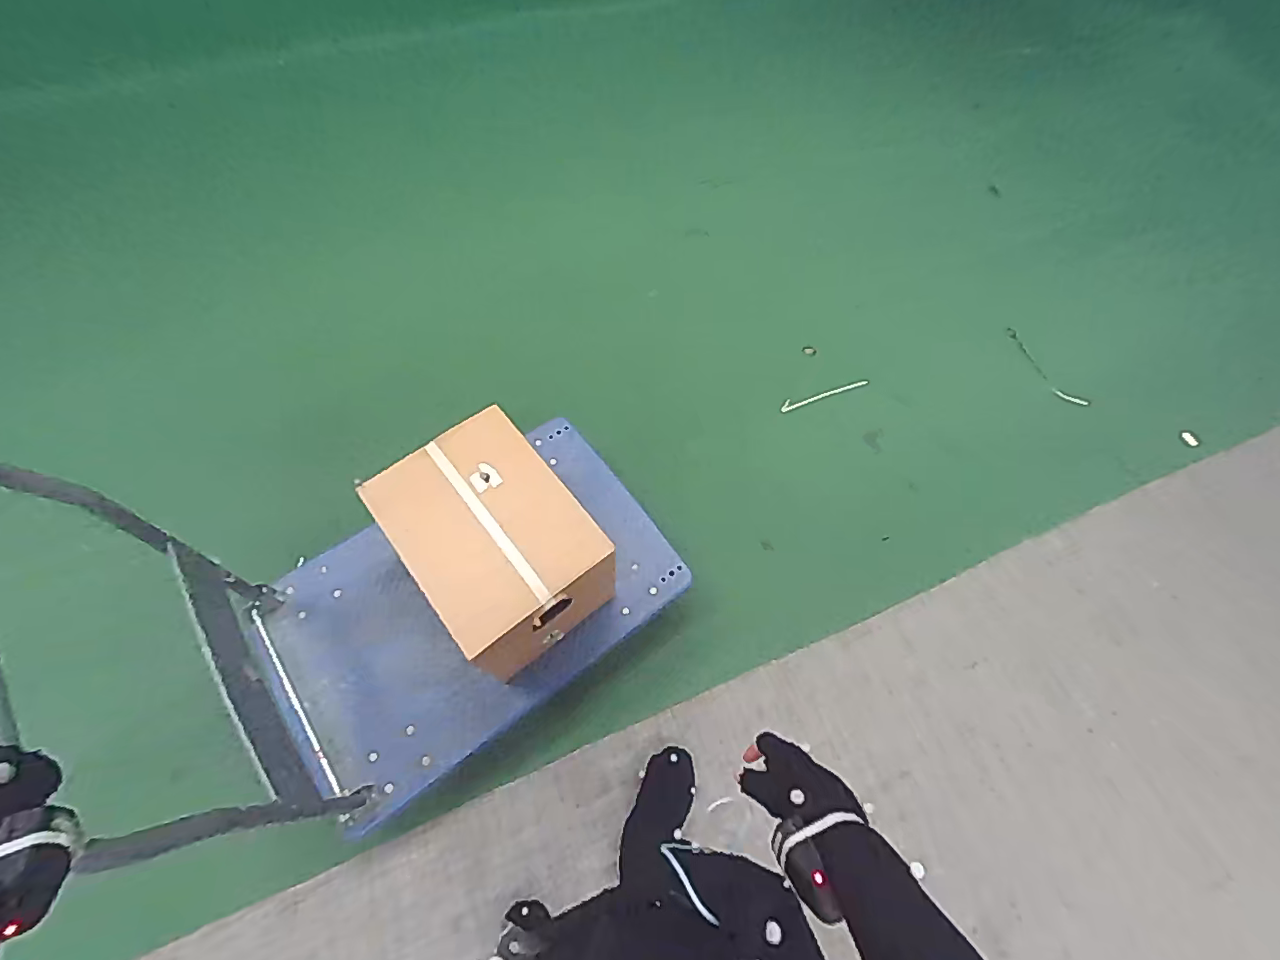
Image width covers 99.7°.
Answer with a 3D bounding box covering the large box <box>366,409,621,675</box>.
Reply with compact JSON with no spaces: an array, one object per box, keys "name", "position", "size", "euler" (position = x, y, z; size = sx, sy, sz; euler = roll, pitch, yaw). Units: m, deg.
[{"name":"large box","position":[-0.282,0.138,1.144],"size":[0.320,0.320,0.408],"euler":[-36,69,-19]}]
